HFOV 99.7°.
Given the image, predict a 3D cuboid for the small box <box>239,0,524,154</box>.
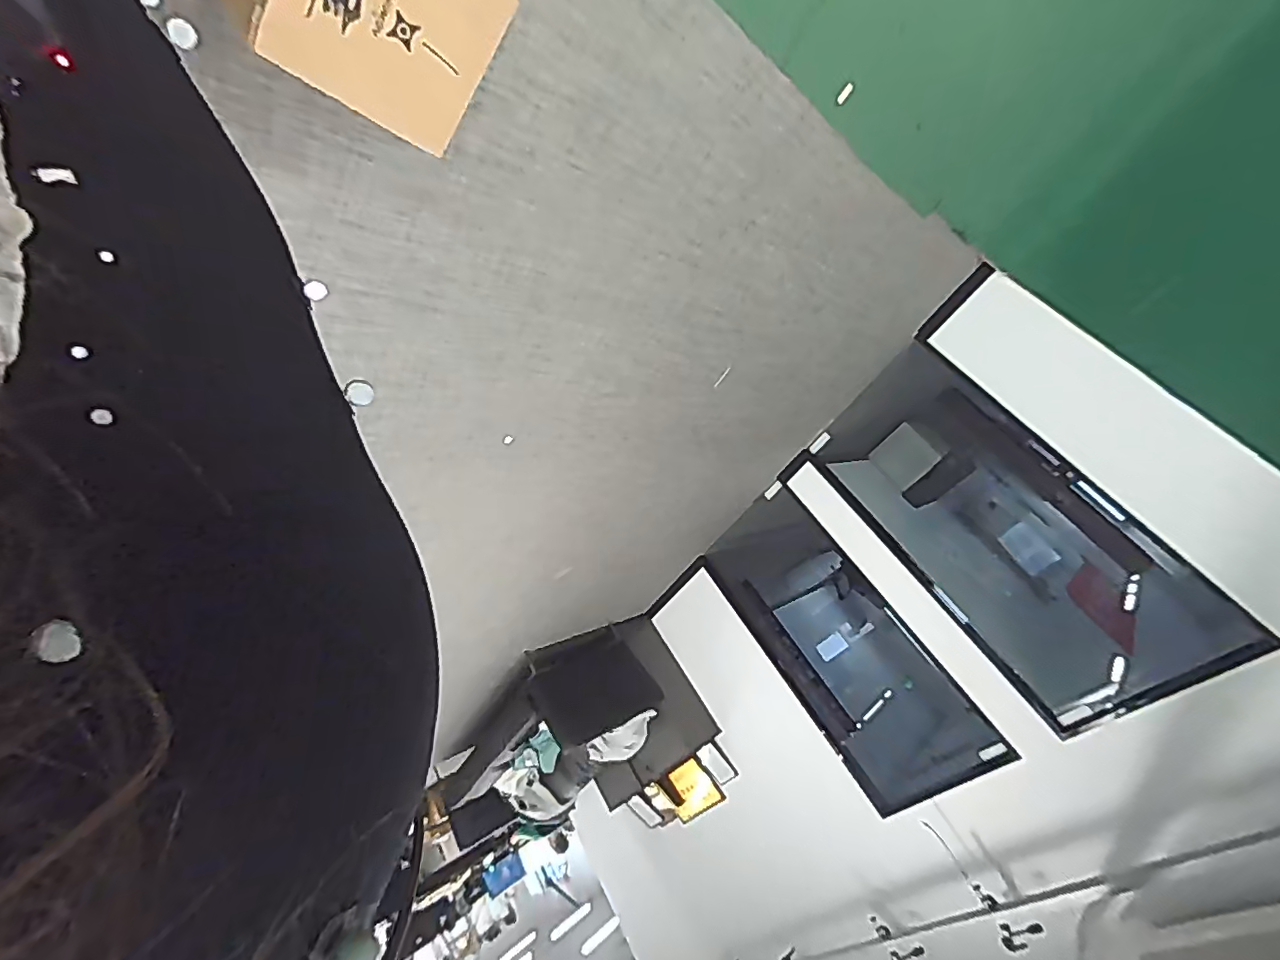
[{"bbox_3d":[-0.246,-0.453,0.492,0.168,0.176,0.179,-47,153,25],"label":"small box"}]
